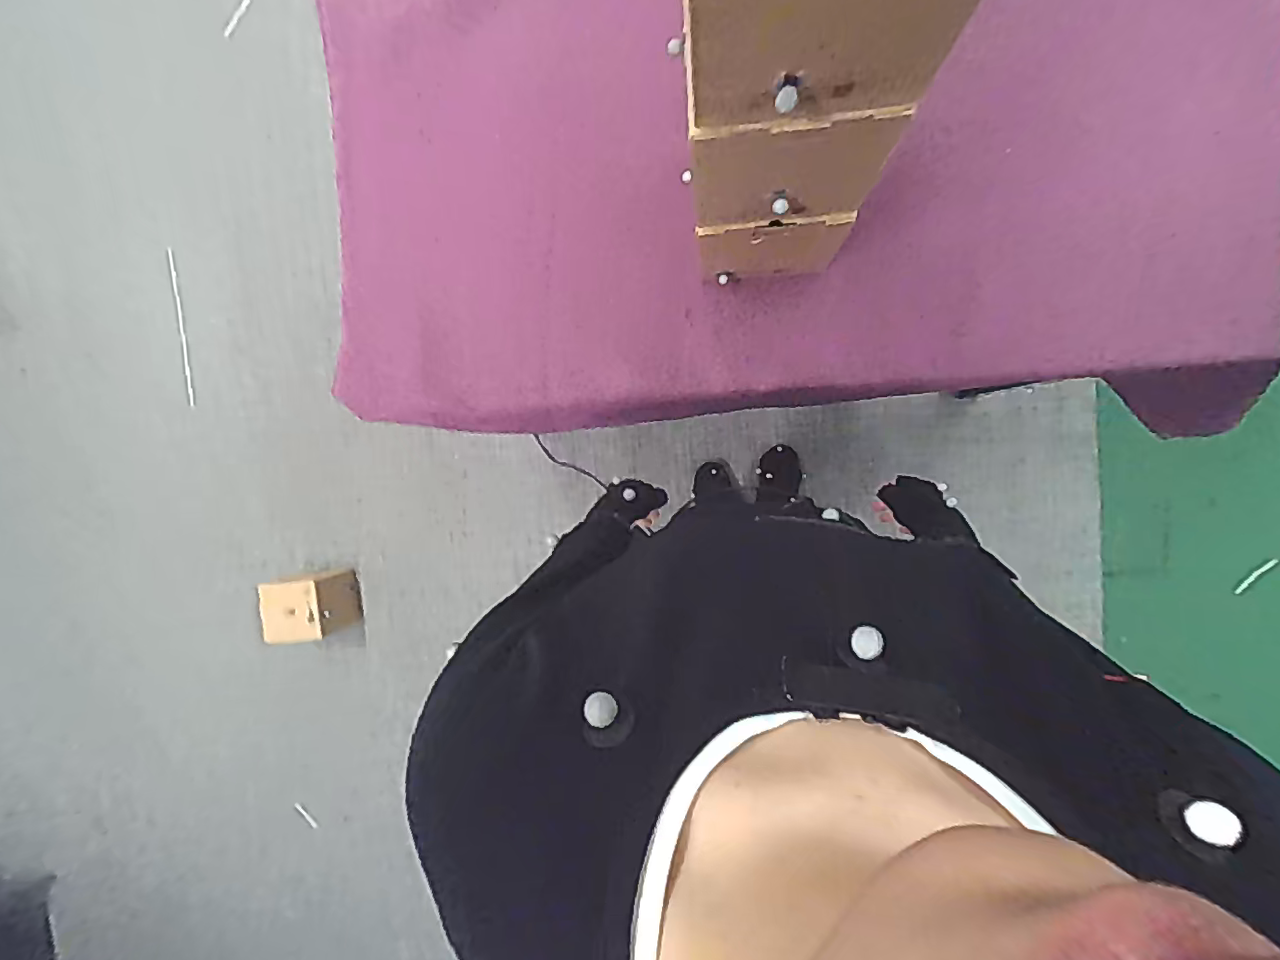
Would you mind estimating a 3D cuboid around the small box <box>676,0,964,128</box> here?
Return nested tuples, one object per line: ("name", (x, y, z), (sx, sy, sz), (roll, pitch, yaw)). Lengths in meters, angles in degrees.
("small box", (0.103, -0.353, 0.320), (0.168, 0.176, 0.179), (-2, 92, 8))

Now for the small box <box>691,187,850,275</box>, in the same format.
("small box", (0.147, -0.356, 0.644), (0.168, 0.176, 0.179), (-2, 92, 7))

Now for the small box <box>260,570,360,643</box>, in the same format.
("small box", (-0.943, 0.360, 1.556), (0.179, 0.176, 0.168), (-5, 92, 8))

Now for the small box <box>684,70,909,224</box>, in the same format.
("small box", (0.123, -0.356, 0.482), (0.168, 0.176, 0.179), (-2, 93, 8))
